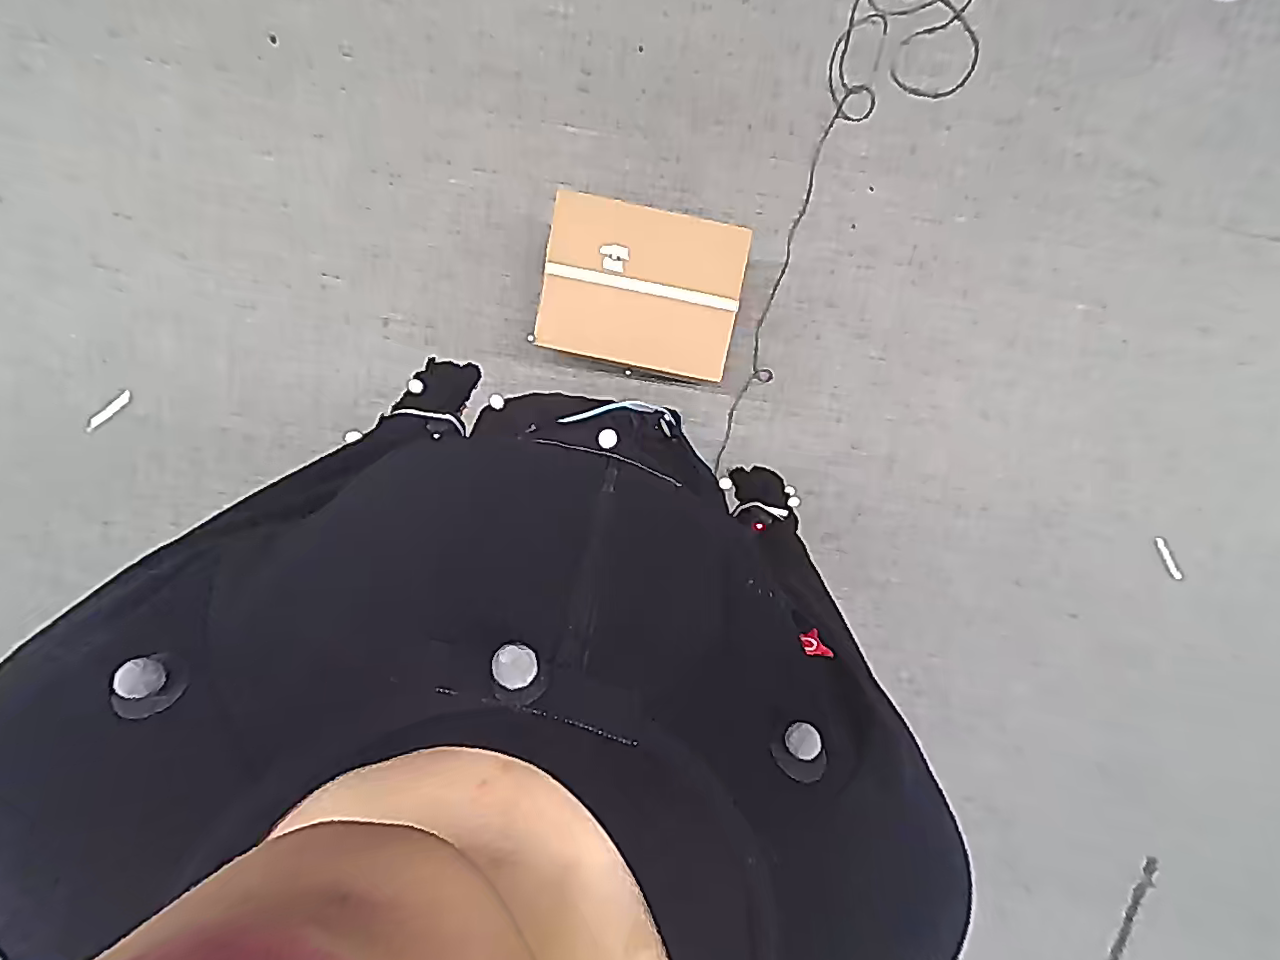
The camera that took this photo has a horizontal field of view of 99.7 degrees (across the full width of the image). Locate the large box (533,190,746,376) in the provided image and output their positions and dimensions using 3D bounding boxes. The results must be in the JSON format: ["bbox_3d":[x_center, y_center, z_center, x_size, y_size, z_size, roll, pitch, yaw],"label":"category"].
[{"bbox_3d":[0.000,-0.428,1.263,0.408,0.320,0.320,11,99,-1],"label":"large box"}]
